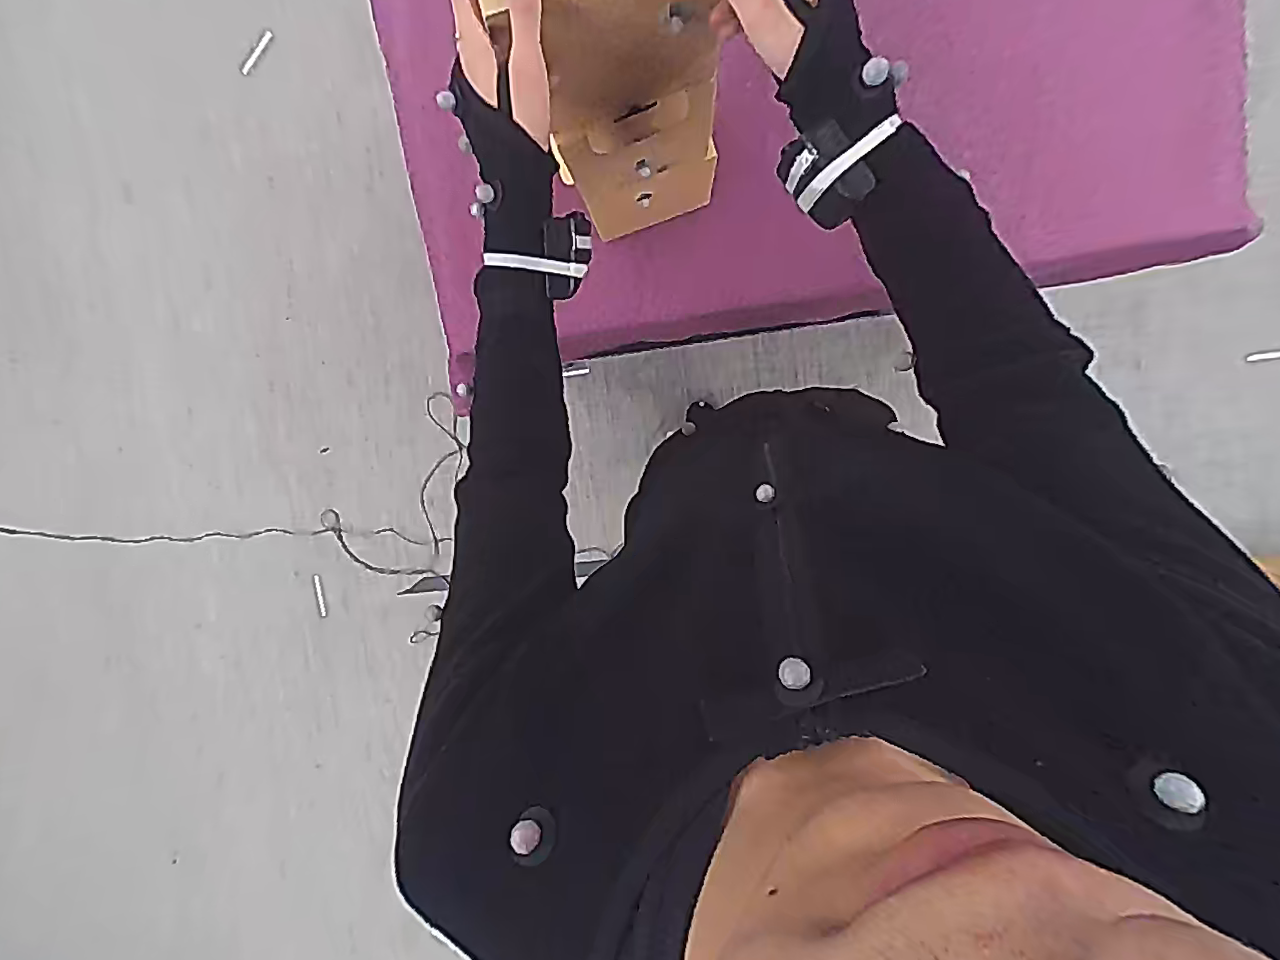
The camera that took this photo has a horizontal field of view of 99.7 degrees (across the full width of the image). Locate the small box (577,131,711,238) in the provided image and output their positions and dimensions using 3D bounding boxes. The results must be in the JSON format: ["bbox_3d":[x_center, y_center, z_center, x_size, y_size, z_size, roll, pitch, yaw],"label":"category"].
[{"bbox_3d":[-0.010,-0.462,0.750,0.179,0.176,0.168,-18,97,5],"label":"small box"}]

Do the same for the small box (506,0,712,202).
[{"bbox_3d":[-0.030,-0.442,0.588,0.168,0.176,0.179,-19,97,7],"label":"small box"}]
